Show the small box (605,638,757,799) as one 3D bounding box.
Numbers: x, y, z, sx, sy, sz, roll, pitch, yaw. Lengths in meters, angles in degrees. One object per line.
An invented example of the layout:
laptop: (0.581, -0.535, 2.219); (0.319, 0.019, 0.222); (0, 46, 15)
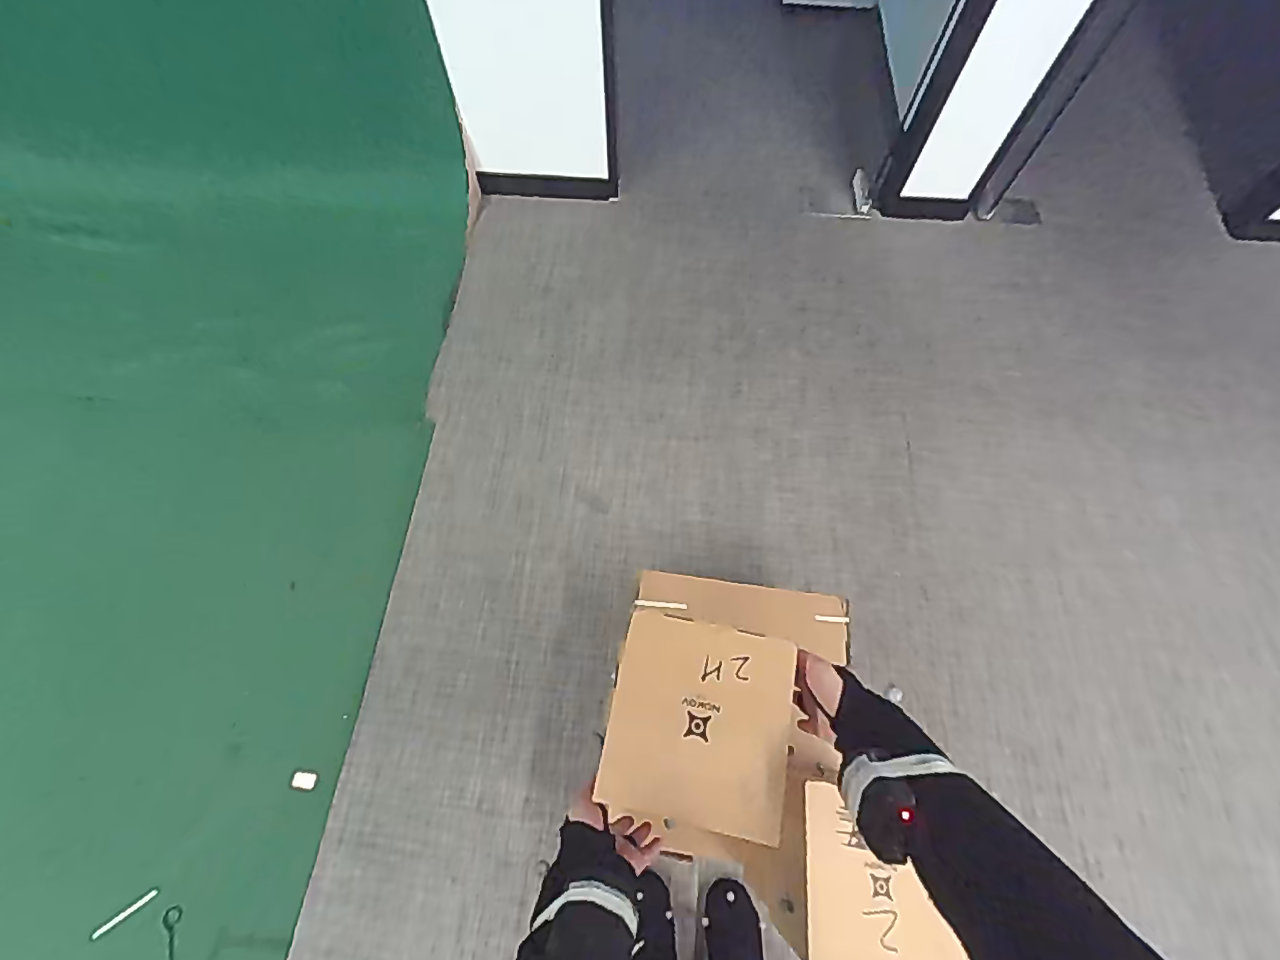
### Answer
small box: (0.058, 0.316, 0.720); (0.179, 0.176, 0.168); (3, 65, 5)

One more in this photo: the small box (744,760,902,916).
small box: (0.261, 0.521, 0.811); (0.179, 0.176, 0.168); (5, 64, 1)
